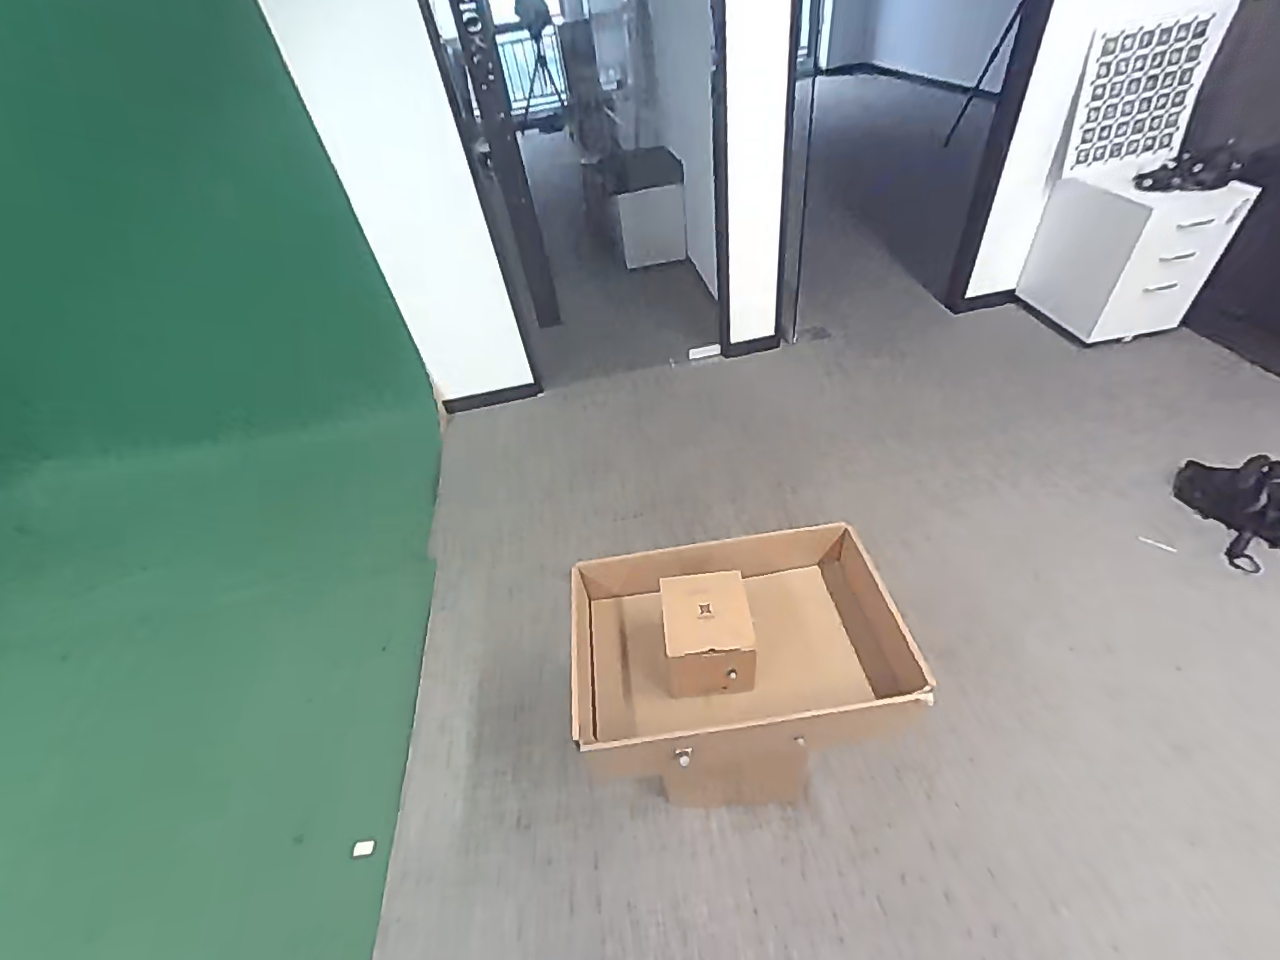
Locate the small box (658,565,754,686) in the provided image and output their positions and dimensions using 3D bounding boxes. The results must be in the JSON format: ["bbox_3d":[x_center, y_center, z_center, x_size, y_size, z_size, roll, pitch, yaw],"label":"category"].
[{"bbox_3d":[0.129,0.298,1.084,0.168,0.176,0.179,-6,42,0],"label":"small box"}]
